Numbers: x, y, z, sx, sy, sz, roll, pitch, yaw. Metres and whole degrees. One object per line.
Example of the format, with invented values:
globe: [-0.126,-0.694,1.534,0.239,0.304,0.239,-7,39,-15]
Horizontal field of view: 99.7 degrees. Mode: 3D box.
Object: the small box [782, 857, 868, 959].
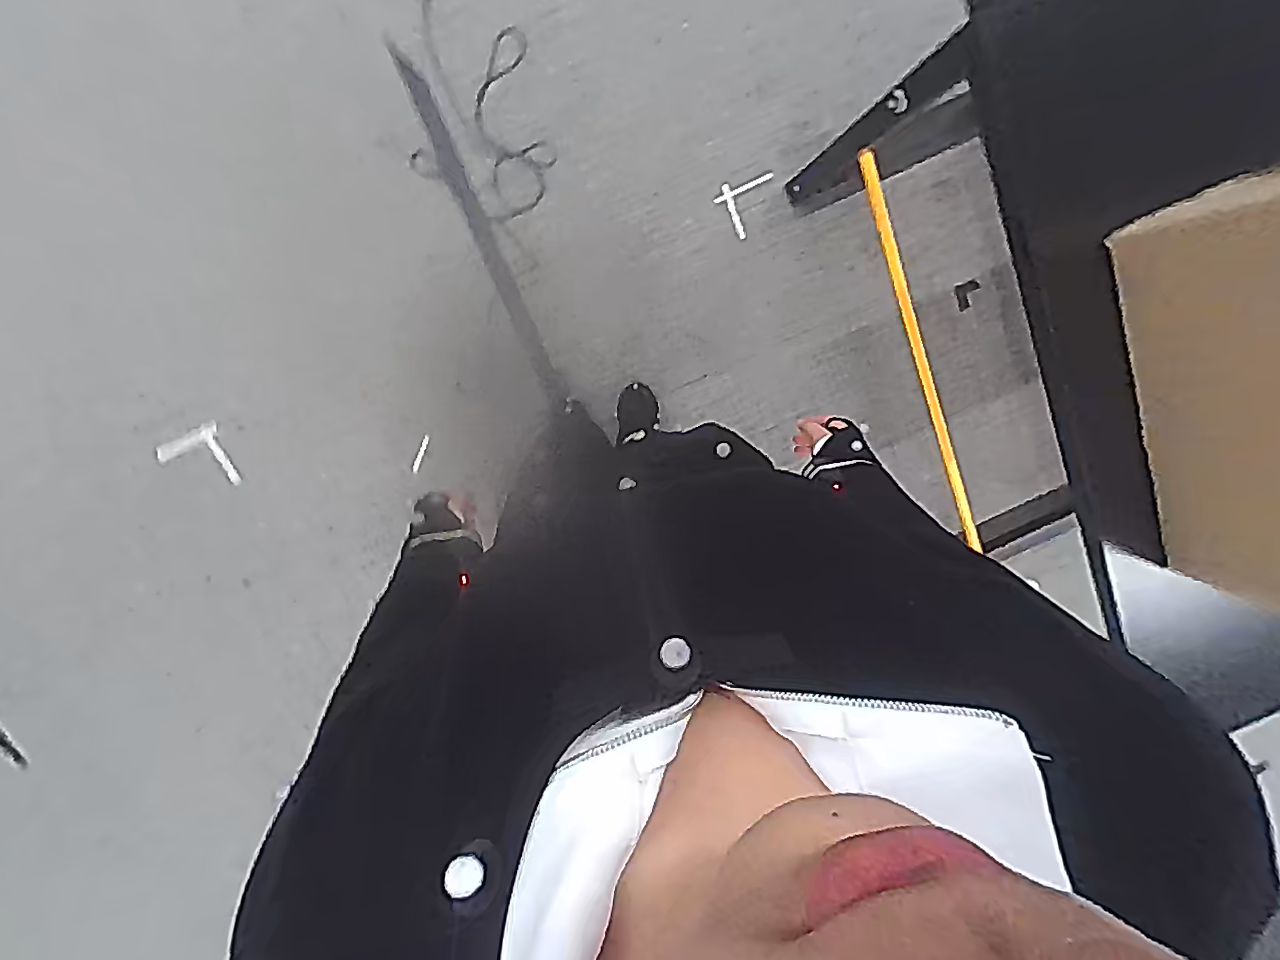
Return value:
small box: [0.570,1.335,1.684,0.168,0.176,0.179,-31,102,2]
